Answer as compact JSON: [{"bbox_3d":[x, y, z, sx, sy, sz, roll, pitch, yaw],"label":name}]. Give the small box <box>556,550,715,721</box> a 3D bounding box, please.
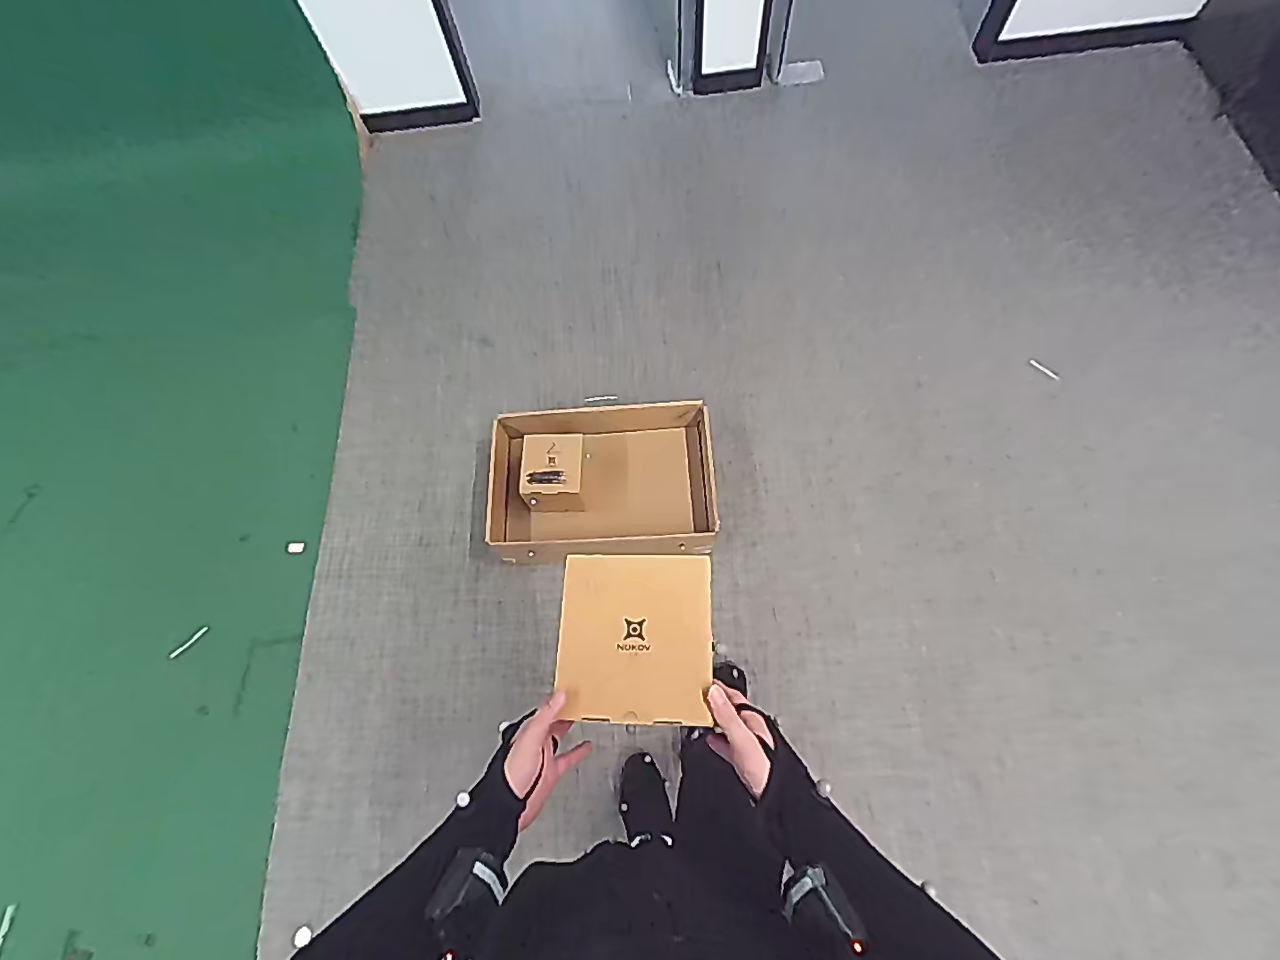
[{"bbox_3d":[0.005,0.192,0.654,0.168,0.176,0.179,-1,67,6],"label":"small box"}]
